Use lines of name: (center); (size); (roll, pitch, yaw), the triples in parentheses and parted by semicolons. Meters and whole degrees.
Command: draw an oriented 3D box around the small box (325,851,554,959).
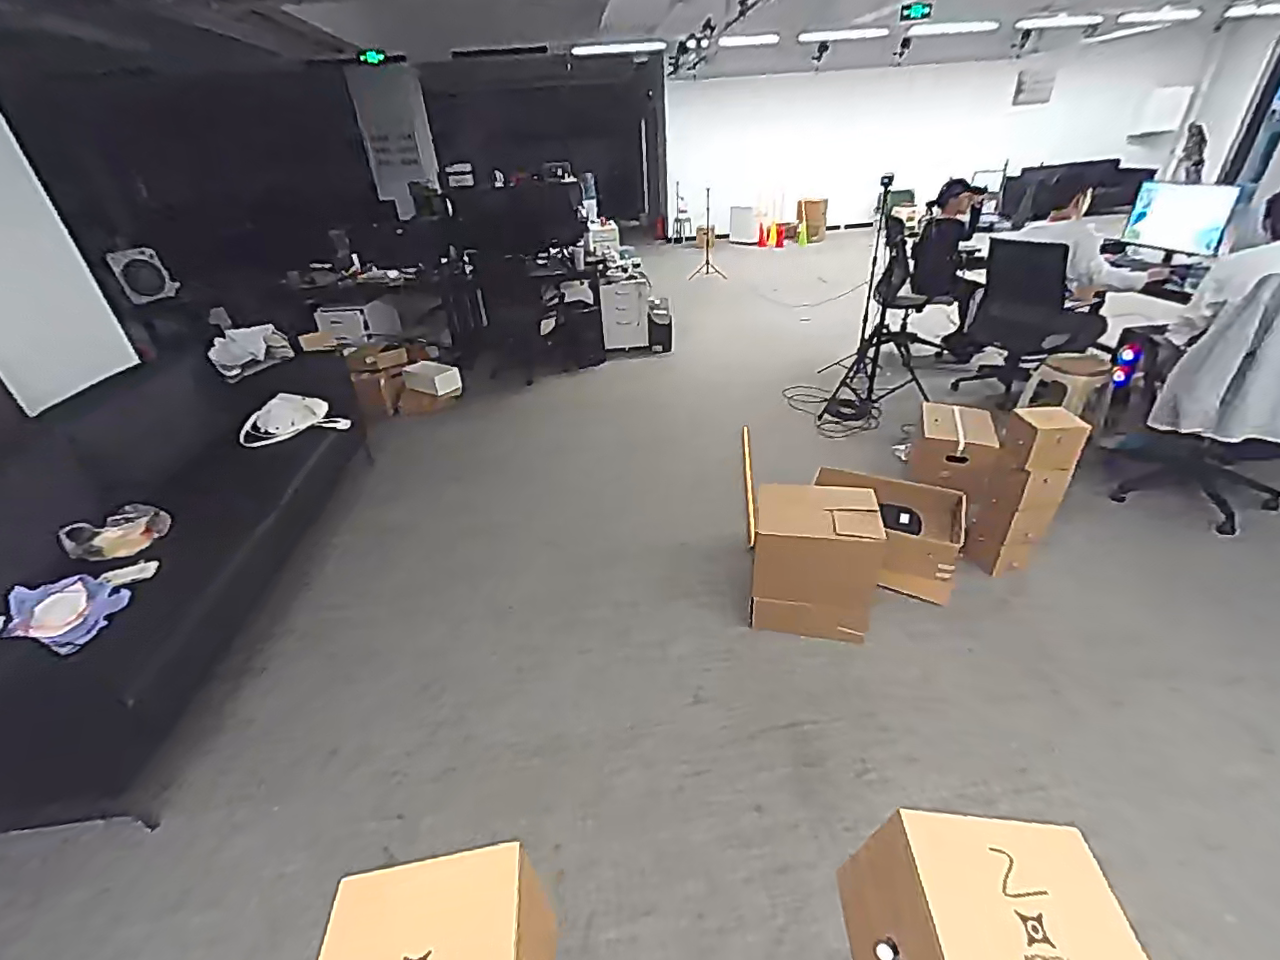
small box: (-0.168, 0.467, 0.466); (0.168, 0.176, 0.179); (-9, 33, -4)
